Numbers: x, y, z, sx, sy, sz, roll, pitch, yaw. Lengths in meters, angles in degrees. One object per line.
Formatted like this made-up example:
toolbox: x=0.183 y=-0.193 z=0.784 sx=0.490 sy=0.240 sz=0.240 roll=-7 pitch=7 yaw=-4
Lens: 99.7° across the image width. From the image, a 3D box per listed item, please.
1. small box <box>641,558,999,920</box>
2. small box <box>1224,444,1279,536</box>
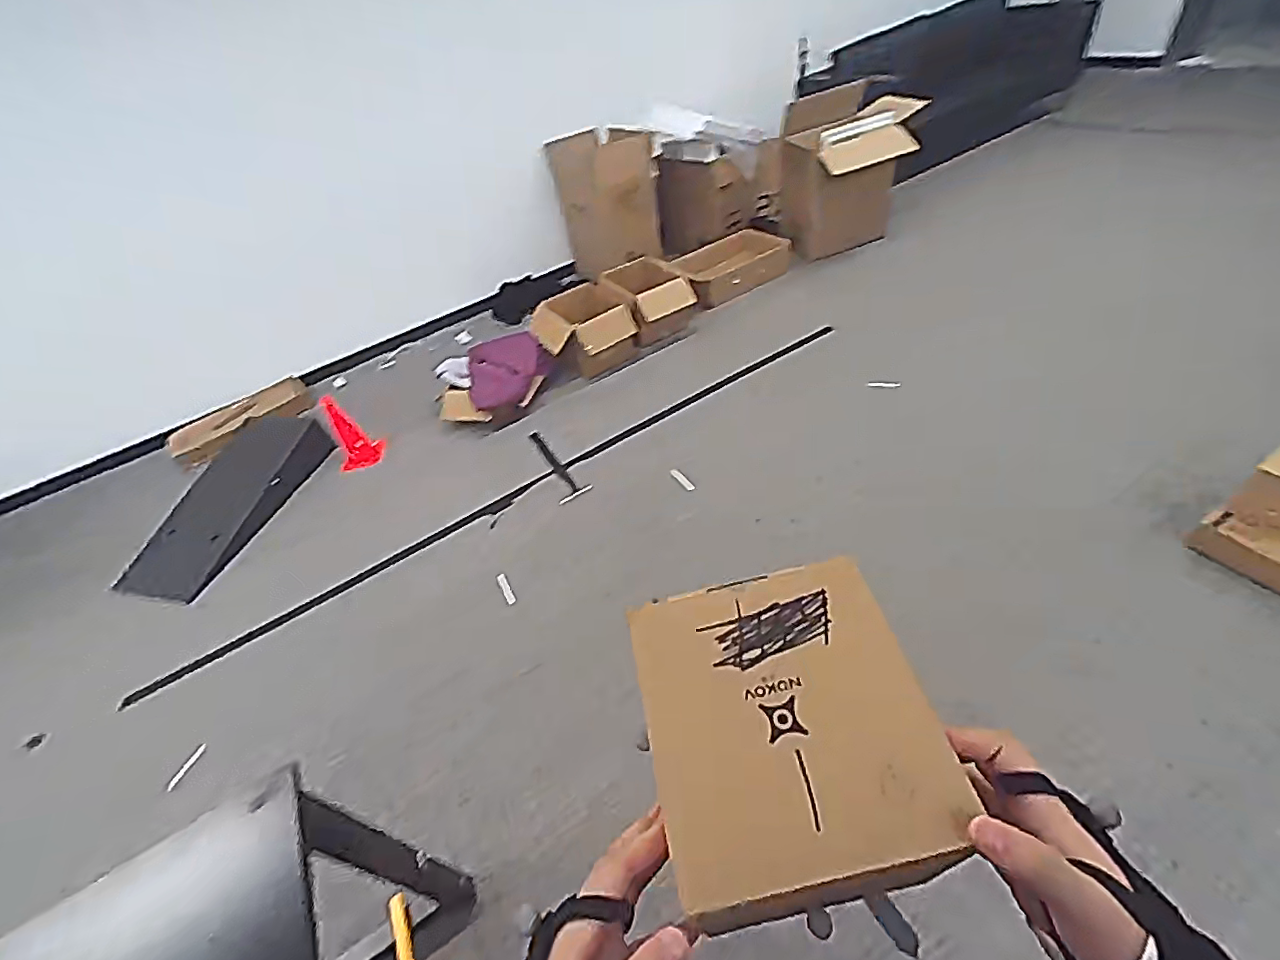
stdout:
small box: x=0.104 y=0.187 z=0.390 sx=0.168 sy=0.176 sz=0.179 roll=-14 pitch=47 yaw=1
small box: x=1.746 y=0.023 z=1.450 sx=0.179 sy=0.176 sz=0.168 roll=-29 pitch=45 yaw=-16
